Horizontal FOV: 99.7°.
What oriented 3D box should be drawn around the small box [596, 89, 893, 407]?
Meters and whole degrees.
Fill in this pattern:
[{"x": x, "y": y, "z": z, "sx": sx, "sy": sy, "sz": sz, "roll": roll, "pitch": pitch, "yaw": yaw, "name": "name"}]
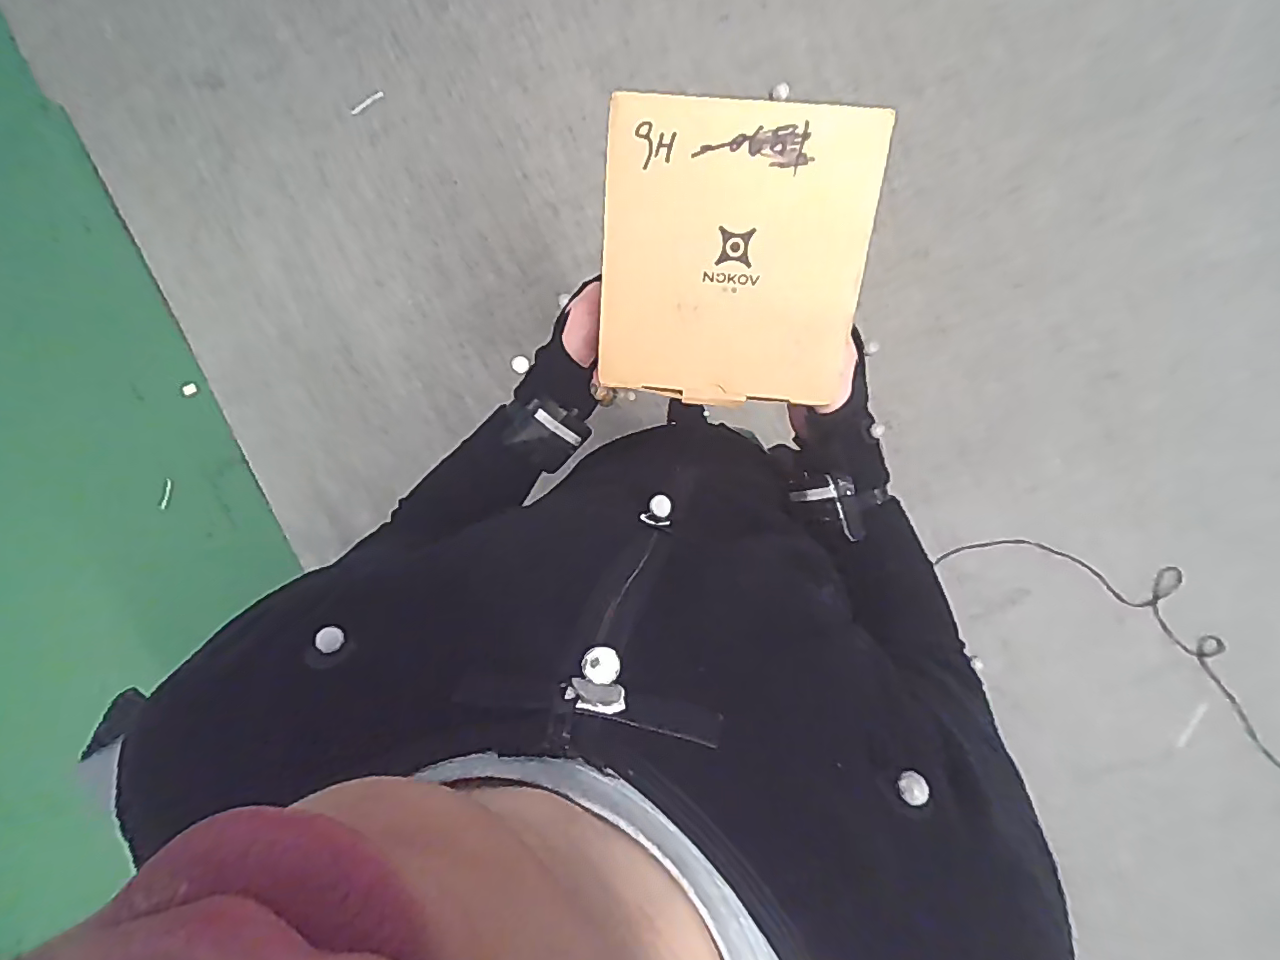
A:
[{"x": 0.064, "y": -0.170, "z": 0.417, "sx": 0.168, "sy": 0.176, "sz": 0.179, "roll": 6, "pitch": 113, "yaw": 2, "name": "small box"}]
